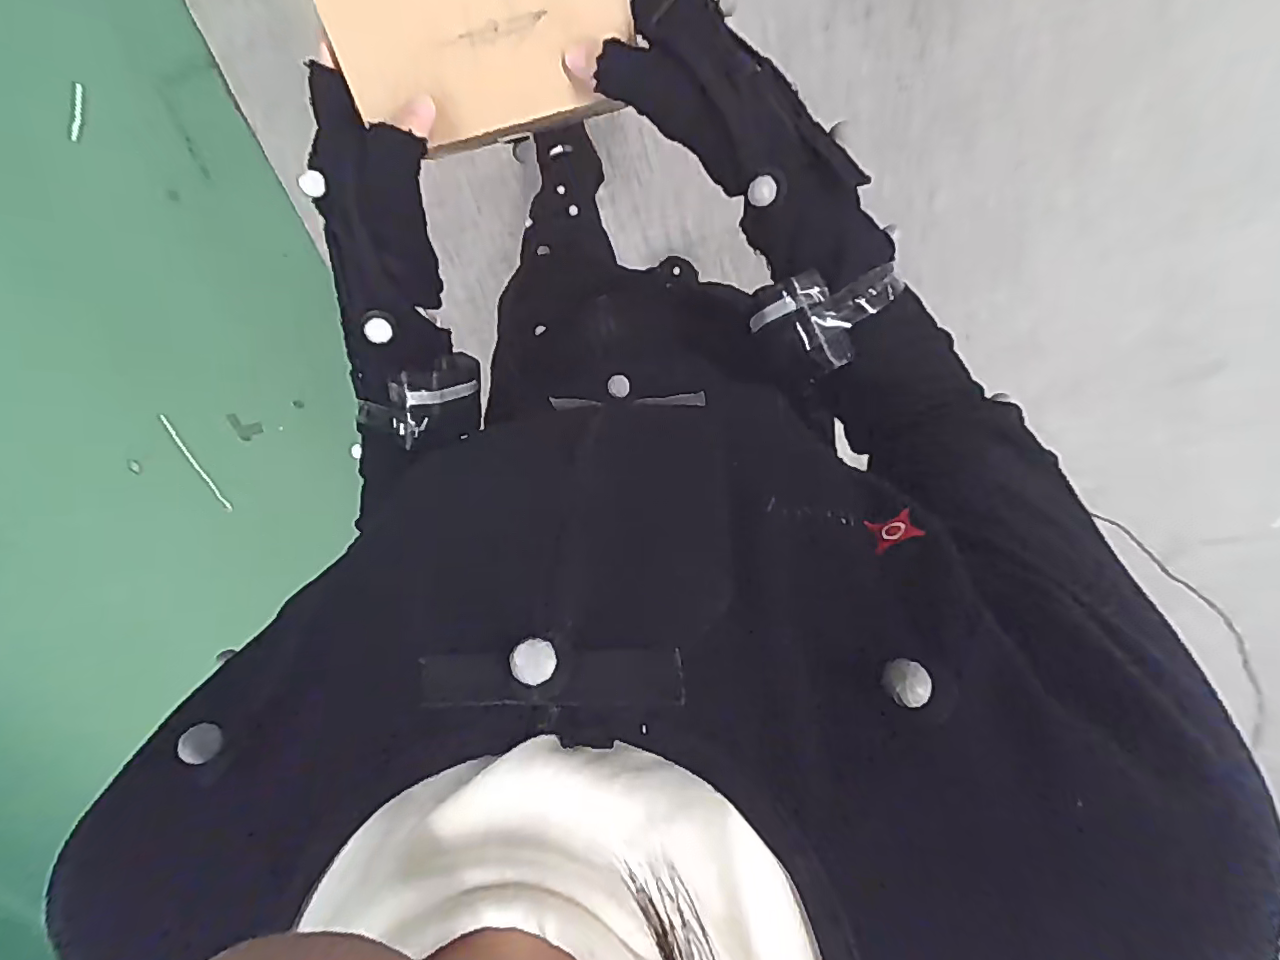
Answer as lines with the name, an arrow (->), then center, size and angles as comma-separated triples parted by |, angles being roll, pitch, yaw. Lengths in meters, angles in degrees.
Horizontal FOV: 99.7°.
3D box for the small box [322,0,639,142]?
small box -> -0.103, -0.336, 0.348 | 0.168, 0.176, 0.179 | -13, 122, 5
